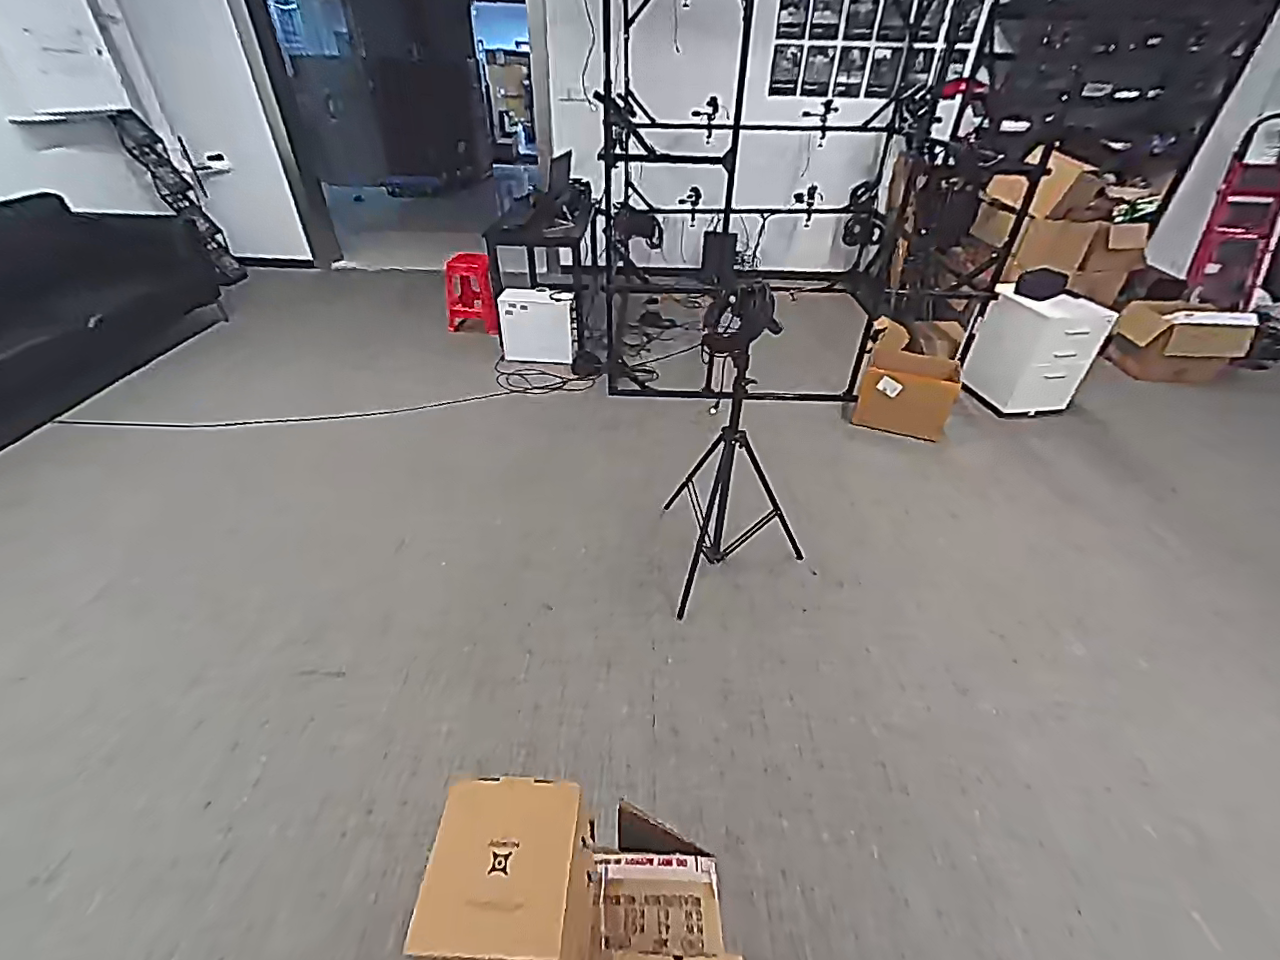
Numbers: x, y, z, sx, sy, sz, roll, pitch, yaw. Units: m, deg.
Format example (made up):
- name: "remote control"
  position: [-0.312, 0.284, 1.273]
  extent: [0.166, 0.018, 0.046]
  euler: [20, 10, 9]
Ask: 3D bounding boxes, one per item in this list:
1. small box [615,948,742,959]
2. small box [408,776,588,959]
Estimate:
- name: "small box"
  position: [0.041, 0.712, 0.665]
  extent: [0.168, 0.176, 0.179]
  euler: [2, 39, 0]
- name: "small box"
  position: [-0.157, 0.497, 0.670]
  extent: [0.168, 0.176, 0.179]
  euler: [0, 39, 2]
